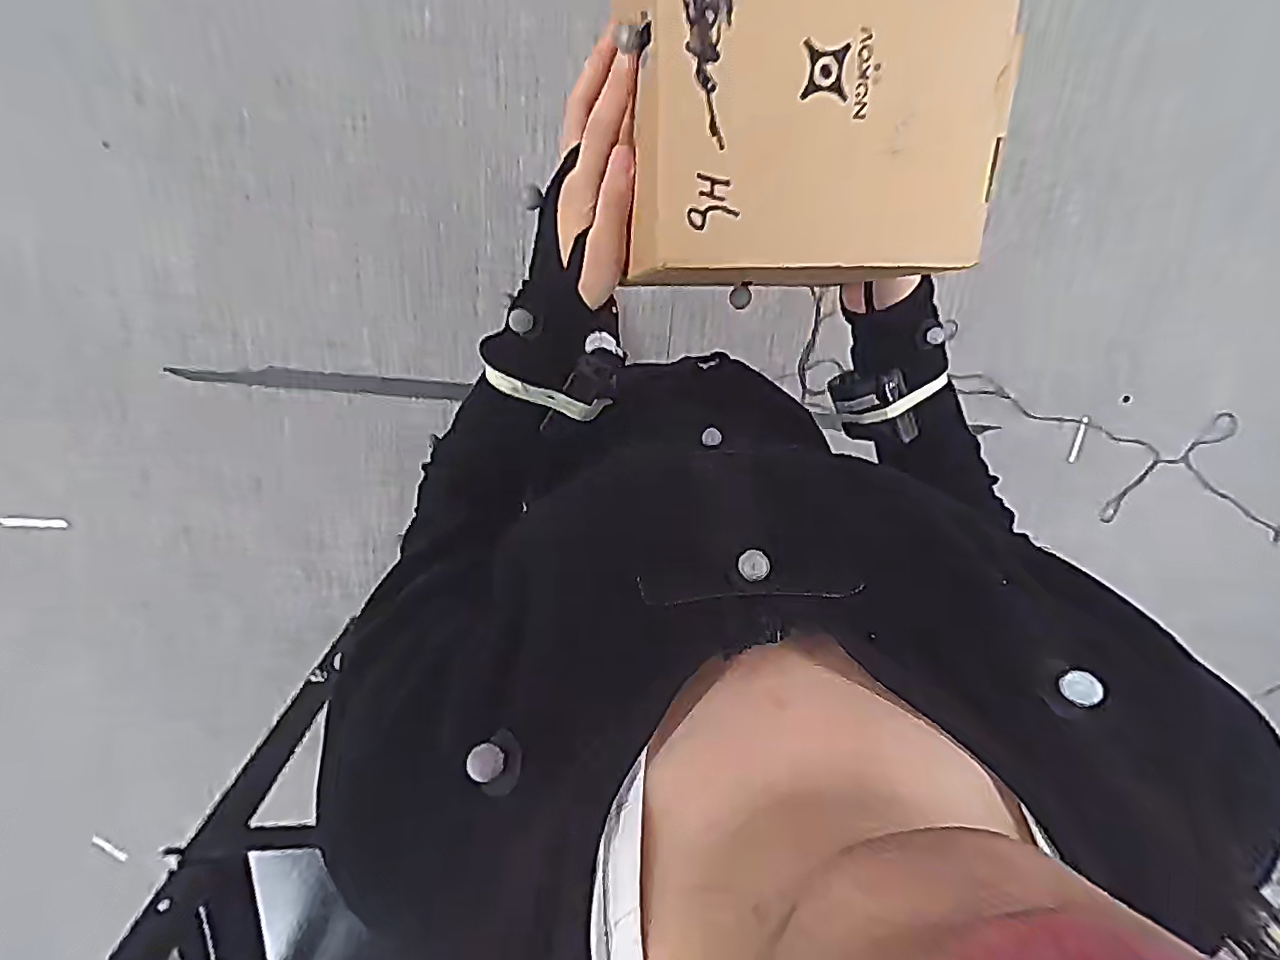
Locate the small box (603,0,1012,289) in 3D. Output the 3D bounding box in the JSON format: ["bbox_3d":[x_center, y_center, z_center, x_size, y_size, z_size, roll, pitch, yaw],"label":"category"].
[{"bbox_3d":[0.076,-0.208,0.325,0.179,0.176,0.168,-3,107,-10],"label":"small box"}]
